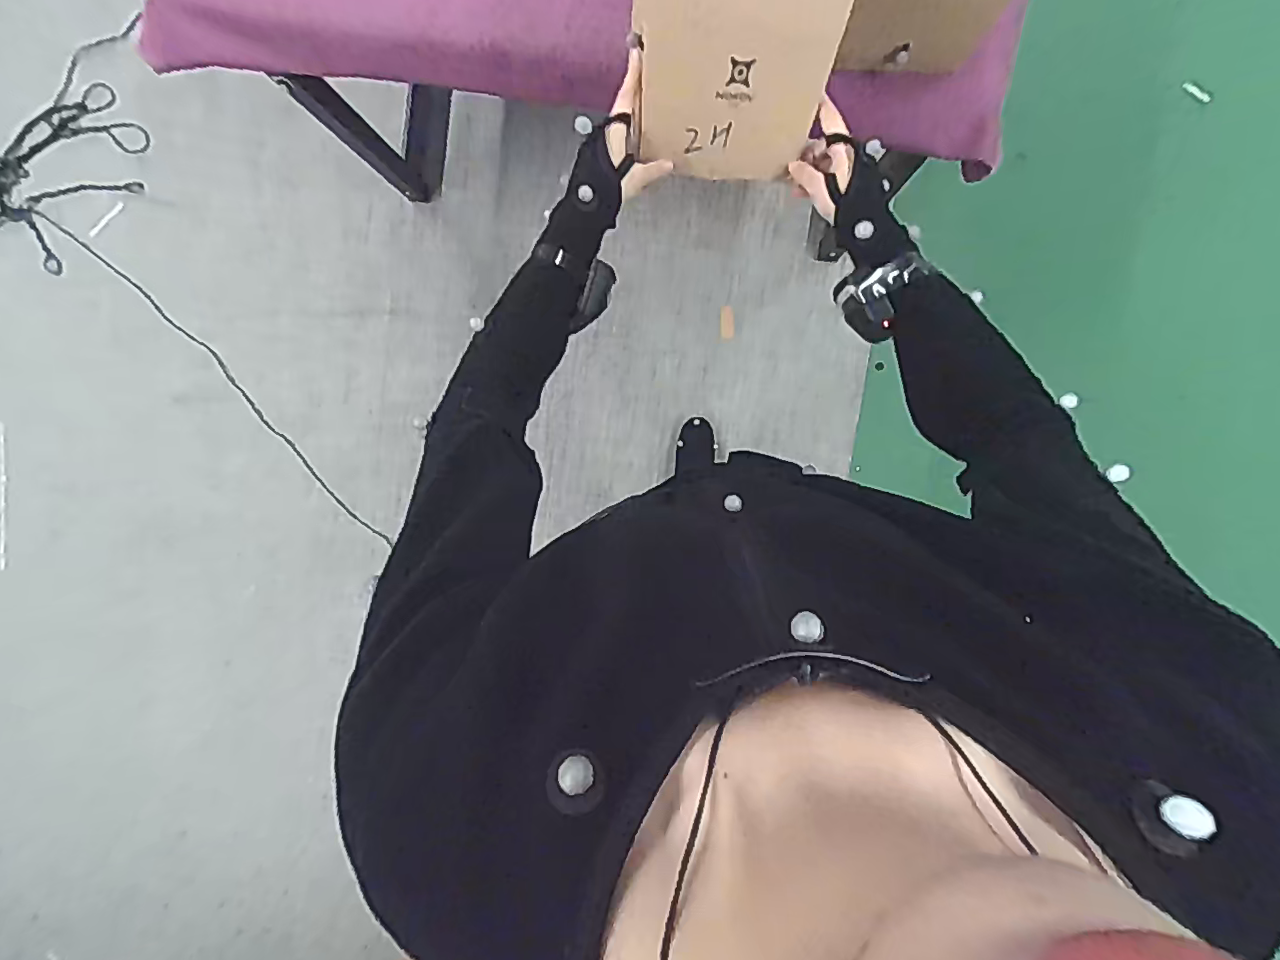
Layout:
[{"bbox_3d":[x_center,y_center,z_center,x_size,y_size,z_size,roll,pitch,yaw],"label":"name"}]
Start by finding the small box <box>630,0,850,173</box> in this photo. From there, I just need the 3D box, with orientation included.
[{"bbox_3d":[0.080,-0.433,0.521,0.168,0.179,0.176,0,59,-7],"label":"small box"}]

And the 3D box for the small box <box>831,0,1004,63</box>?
[{"bbox_3d":[0.333,-0.622,0.623,0.179,0.176,0.168,5,94,4],"label":"small box"}]
